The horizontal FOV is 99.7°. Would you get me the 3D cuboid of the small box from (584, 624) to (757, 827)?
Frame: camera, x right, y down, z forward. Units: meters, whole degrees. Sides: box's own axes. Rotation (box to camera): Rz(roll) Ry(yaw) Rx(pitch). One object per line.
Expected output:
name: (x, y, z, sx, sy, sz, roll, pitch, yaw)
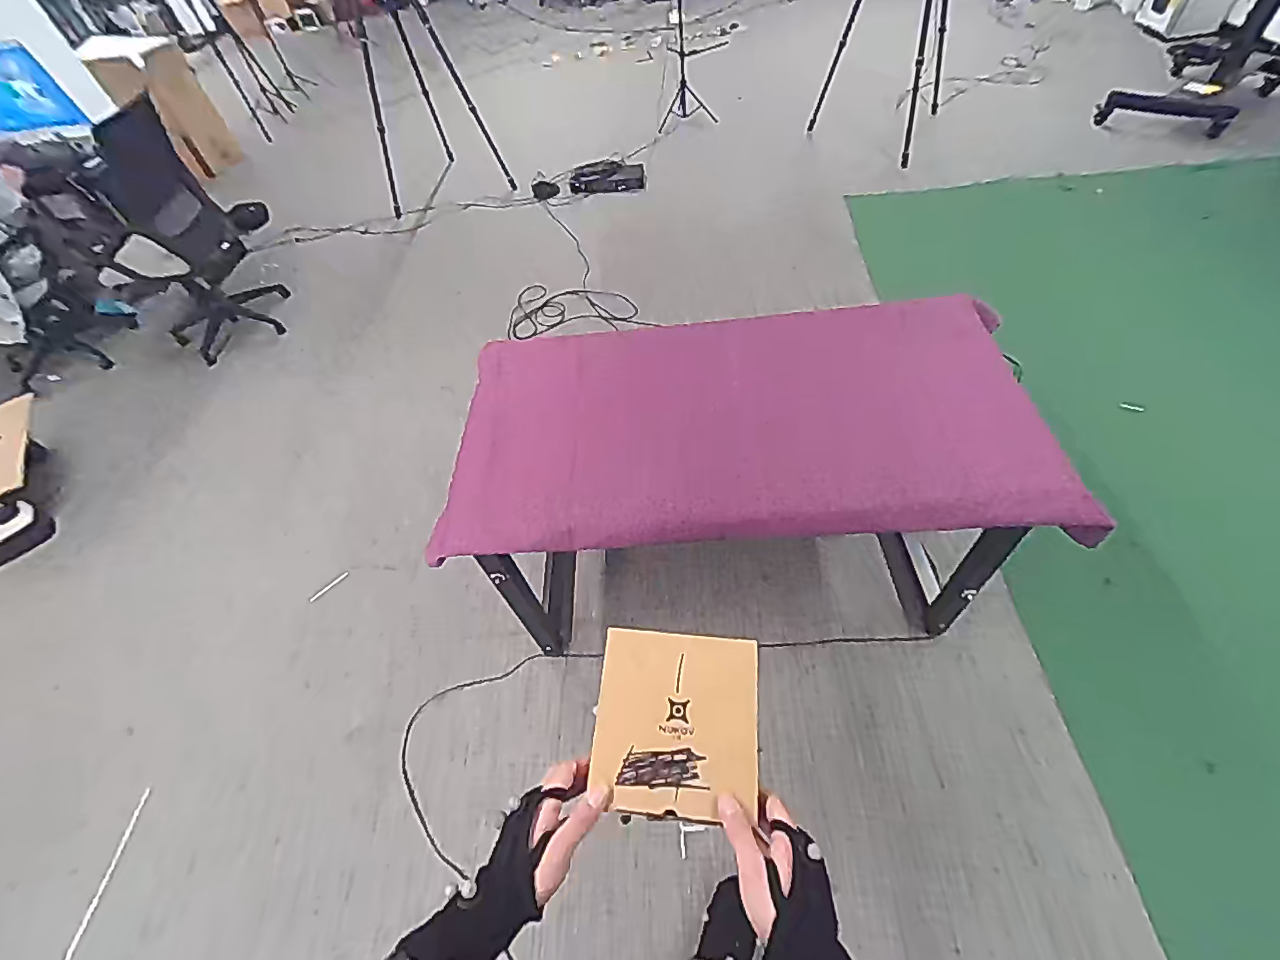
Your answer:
small box: (0.040, 0.280, 0.618, 0.168, 0.176, 0.179, 4, 59, 5)
